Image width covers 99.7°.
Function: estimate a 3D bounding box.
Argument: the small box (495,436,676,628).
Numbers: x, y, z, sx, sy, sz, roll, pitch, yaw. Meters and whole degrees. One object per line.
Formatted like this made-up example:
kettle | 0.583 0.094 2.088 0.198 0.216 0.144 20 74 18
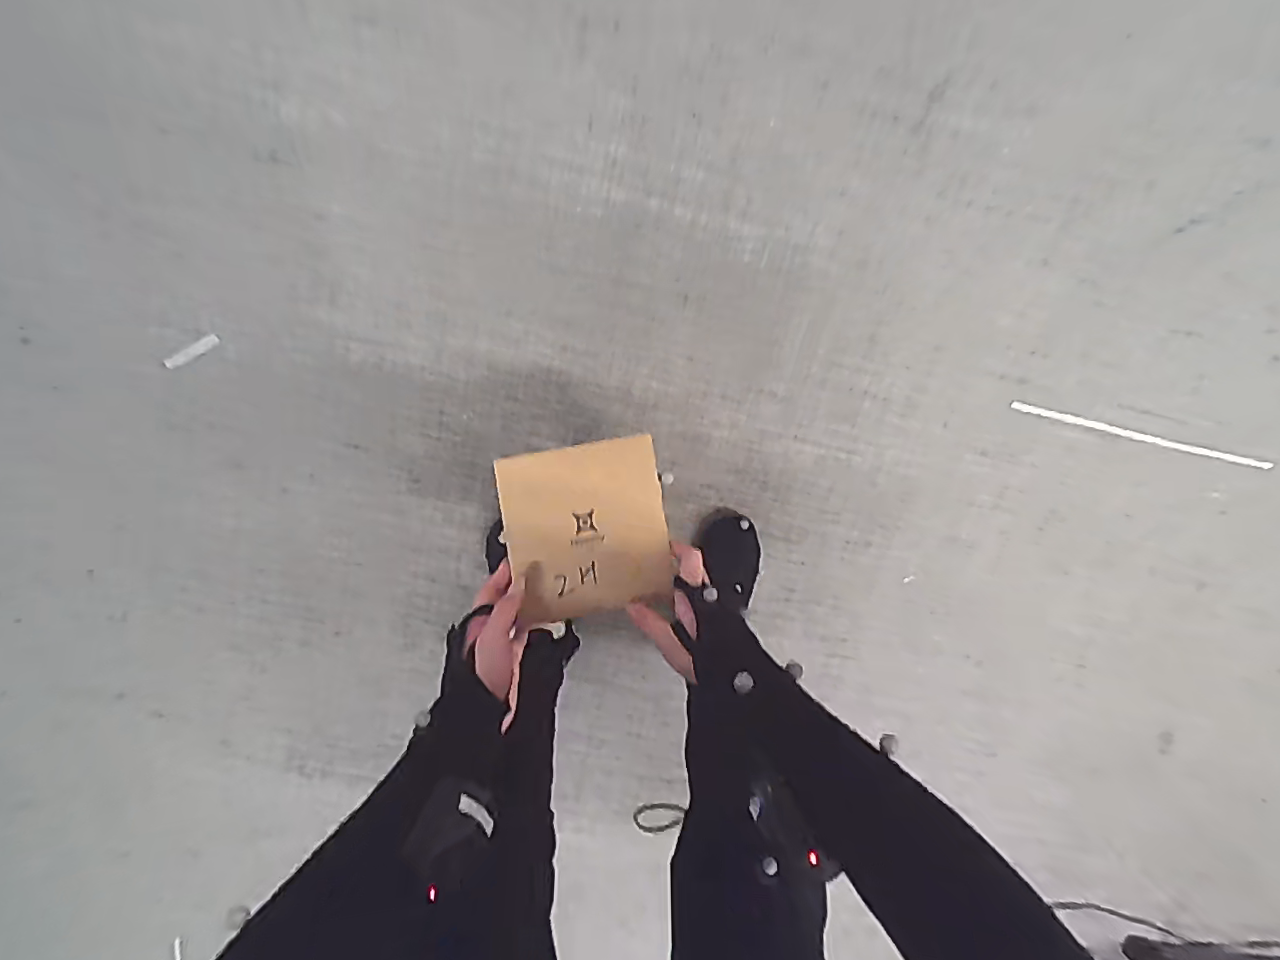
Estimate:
small box | -0.055 0.056 0.624 0.168 0.176 0.179 -9 87 2
